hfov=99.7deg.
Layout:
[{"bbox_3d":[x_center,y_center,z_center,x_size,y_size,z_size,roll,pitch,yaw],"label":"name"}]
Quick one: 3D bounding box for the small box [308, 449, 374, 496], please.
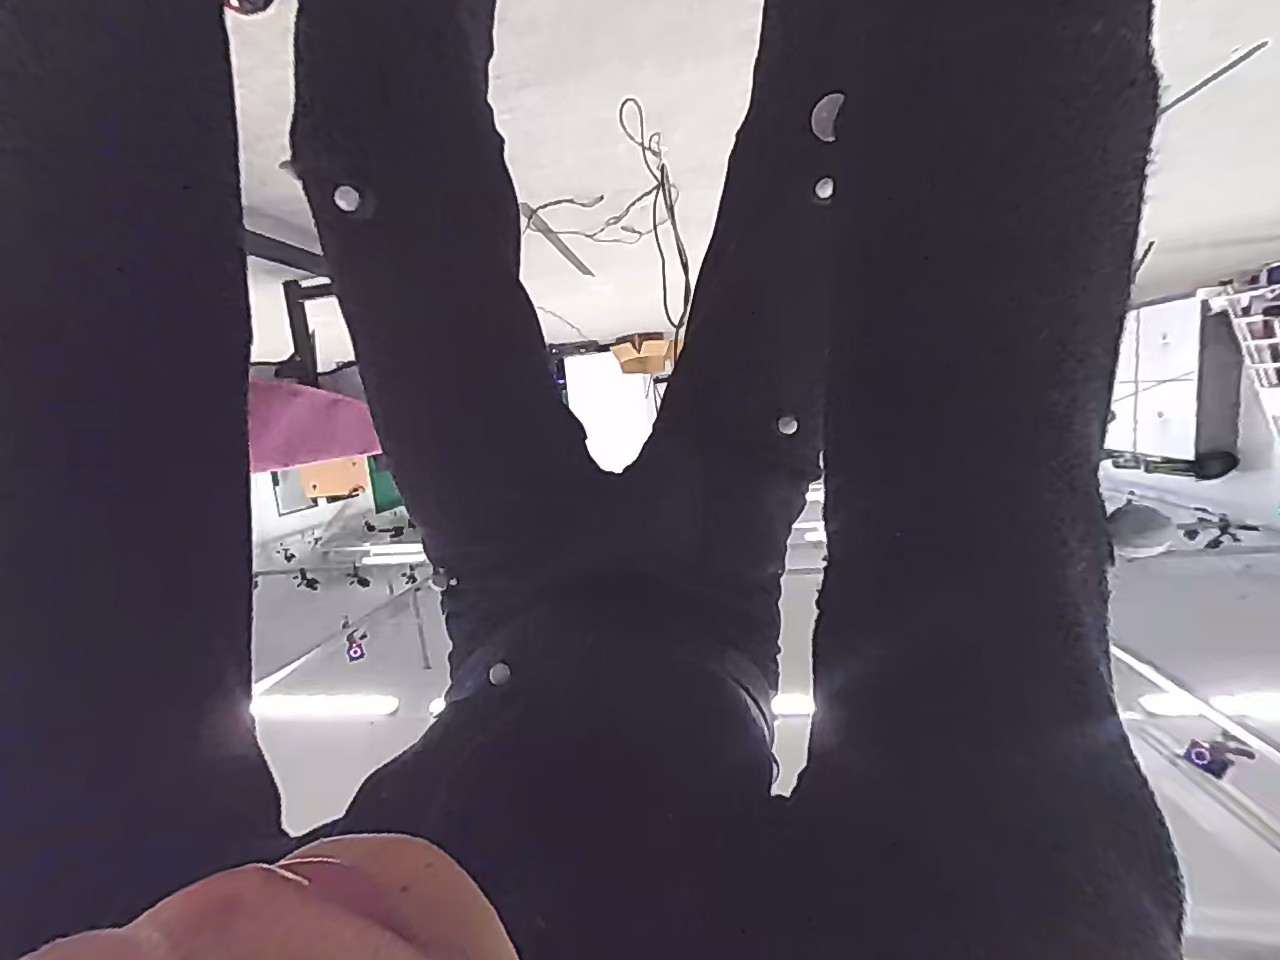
[{"bbox_3d":[-1.230,-0.036,2.219,0.179,0.176,0.168,-5,-172,8],"label":"small box"}]
